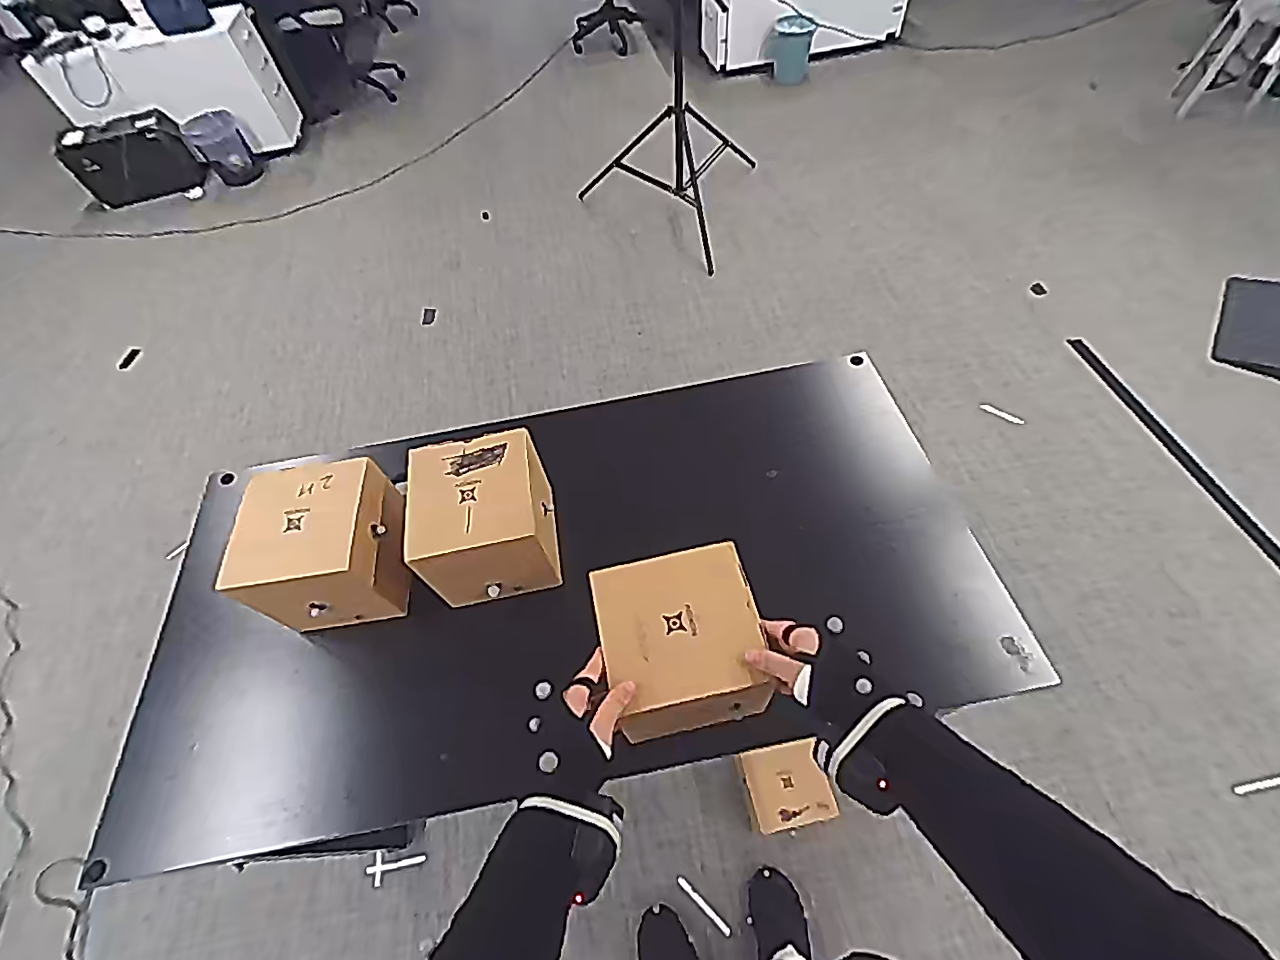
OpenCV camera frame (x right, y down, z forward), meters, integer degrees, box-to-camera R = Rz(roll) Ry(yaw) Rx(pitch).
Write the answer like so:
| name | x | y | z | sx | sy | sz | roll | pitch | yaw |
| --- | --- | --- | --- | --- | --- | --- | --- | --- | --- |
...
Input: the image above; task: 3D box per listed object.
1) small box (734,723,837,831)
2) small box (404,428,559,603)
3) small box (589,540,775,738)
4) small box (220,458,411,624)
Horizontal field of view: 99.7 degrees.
| name | x | y | z | sx | sy | sz | roll | pitch | yaw |
| --- | --- | --- | --- | --- | --- | --- | --- | --- | --- |
| small box | 0.311 | 0.662 | 1.200 | 0.168 | 0.176 | 0.179 | -13 | 56 | -1 |
| small box | -0.219 | 0.055 | 0.778 | 0.168 | 0.176 | 0.179 | -12 | 57 | -2 |
| small box | 0.046 | 0.198 | 0.659 | 0.179 | 0.176 | 0.168 | -14 | 55 | -2 |
| small box | -0.440 | 0.095 | 0.774 | 0.168 | 0.176 | 0.179 | -8 | 56 | -1 |
